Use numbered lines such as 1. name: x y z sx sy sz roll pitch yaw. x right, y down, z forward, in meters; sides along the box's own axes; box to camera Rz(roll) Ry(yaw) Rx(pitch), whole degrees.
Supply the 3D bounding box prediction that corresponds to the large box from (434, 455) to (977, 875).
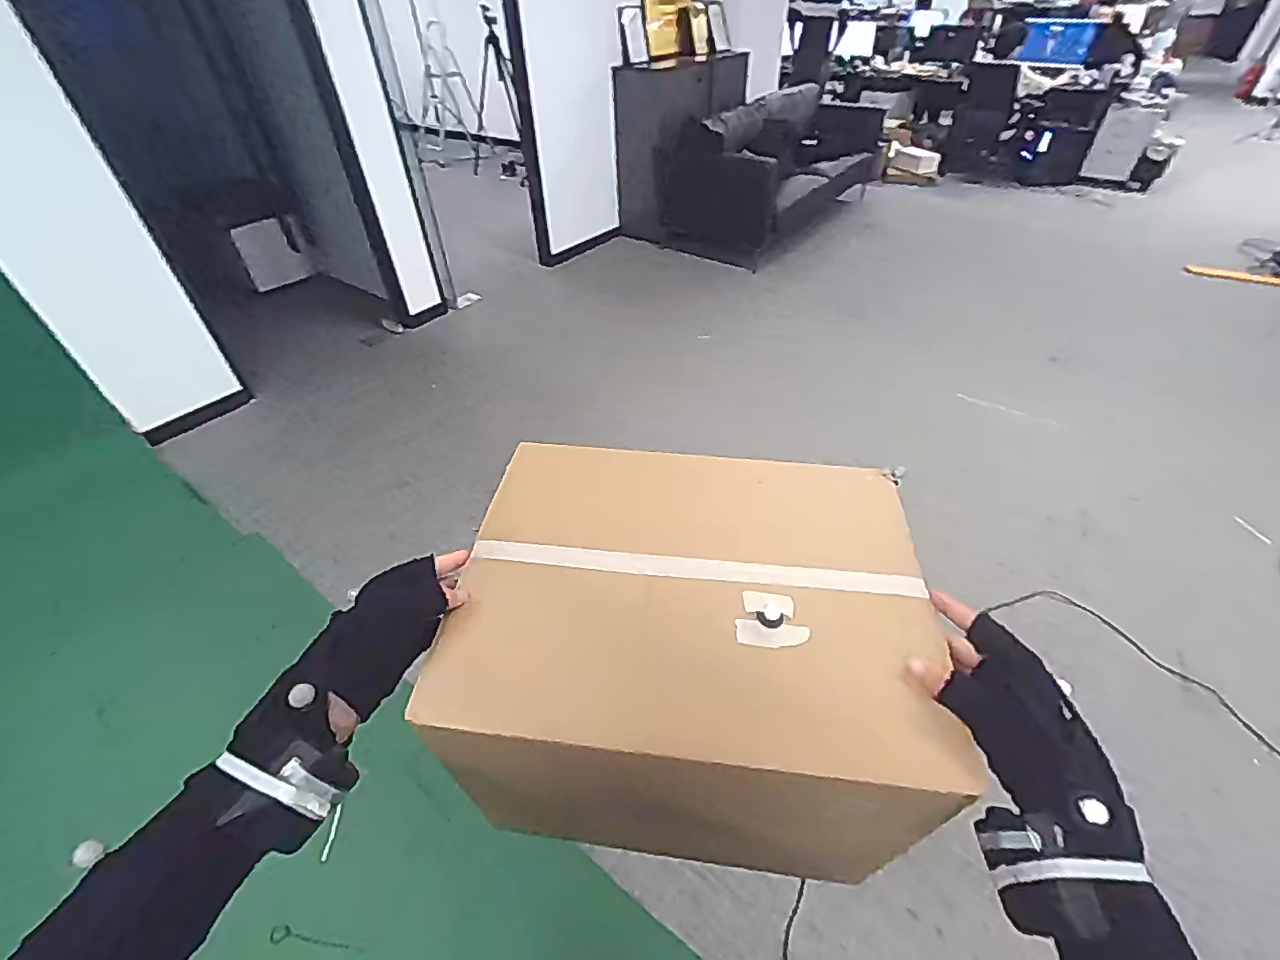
1. large box: 0.054 0.197 0.598 0.408 0.320 0.320 5 45 5
